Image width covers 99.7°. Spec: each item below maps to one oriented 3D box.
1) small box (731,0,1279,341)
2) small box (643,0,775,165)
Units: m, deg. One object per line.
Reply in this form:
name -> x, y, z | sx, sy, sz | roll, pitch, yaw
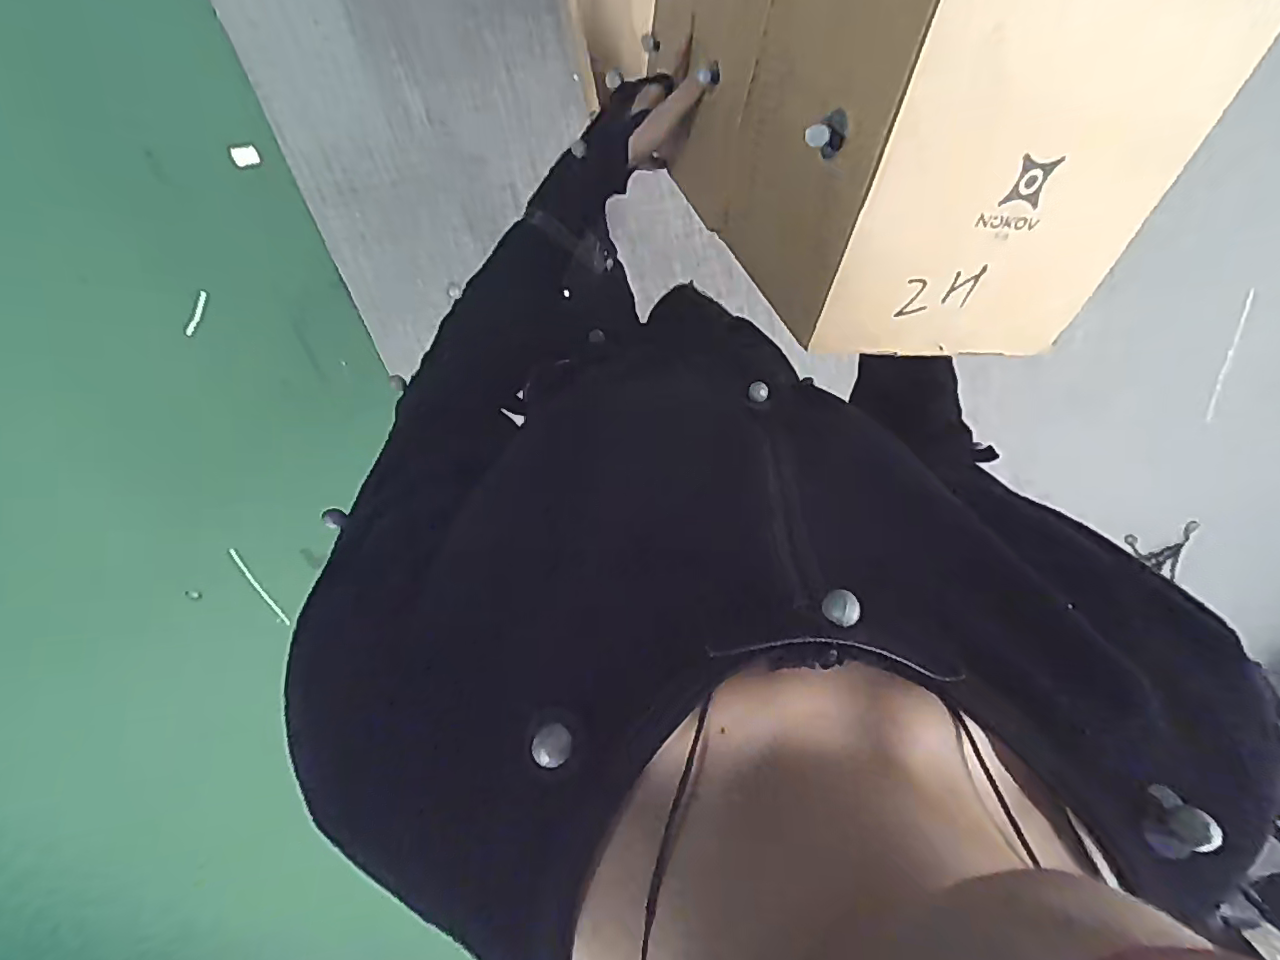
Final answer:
small box -> 0.165, -0.200, 0.308 | 0.168, 0.176, 0.179 | -1, 134, -12
small box -> 0.103, -0.431, 0.536 | 0.168, 0.176, 0.179 | -2, 135, -13
